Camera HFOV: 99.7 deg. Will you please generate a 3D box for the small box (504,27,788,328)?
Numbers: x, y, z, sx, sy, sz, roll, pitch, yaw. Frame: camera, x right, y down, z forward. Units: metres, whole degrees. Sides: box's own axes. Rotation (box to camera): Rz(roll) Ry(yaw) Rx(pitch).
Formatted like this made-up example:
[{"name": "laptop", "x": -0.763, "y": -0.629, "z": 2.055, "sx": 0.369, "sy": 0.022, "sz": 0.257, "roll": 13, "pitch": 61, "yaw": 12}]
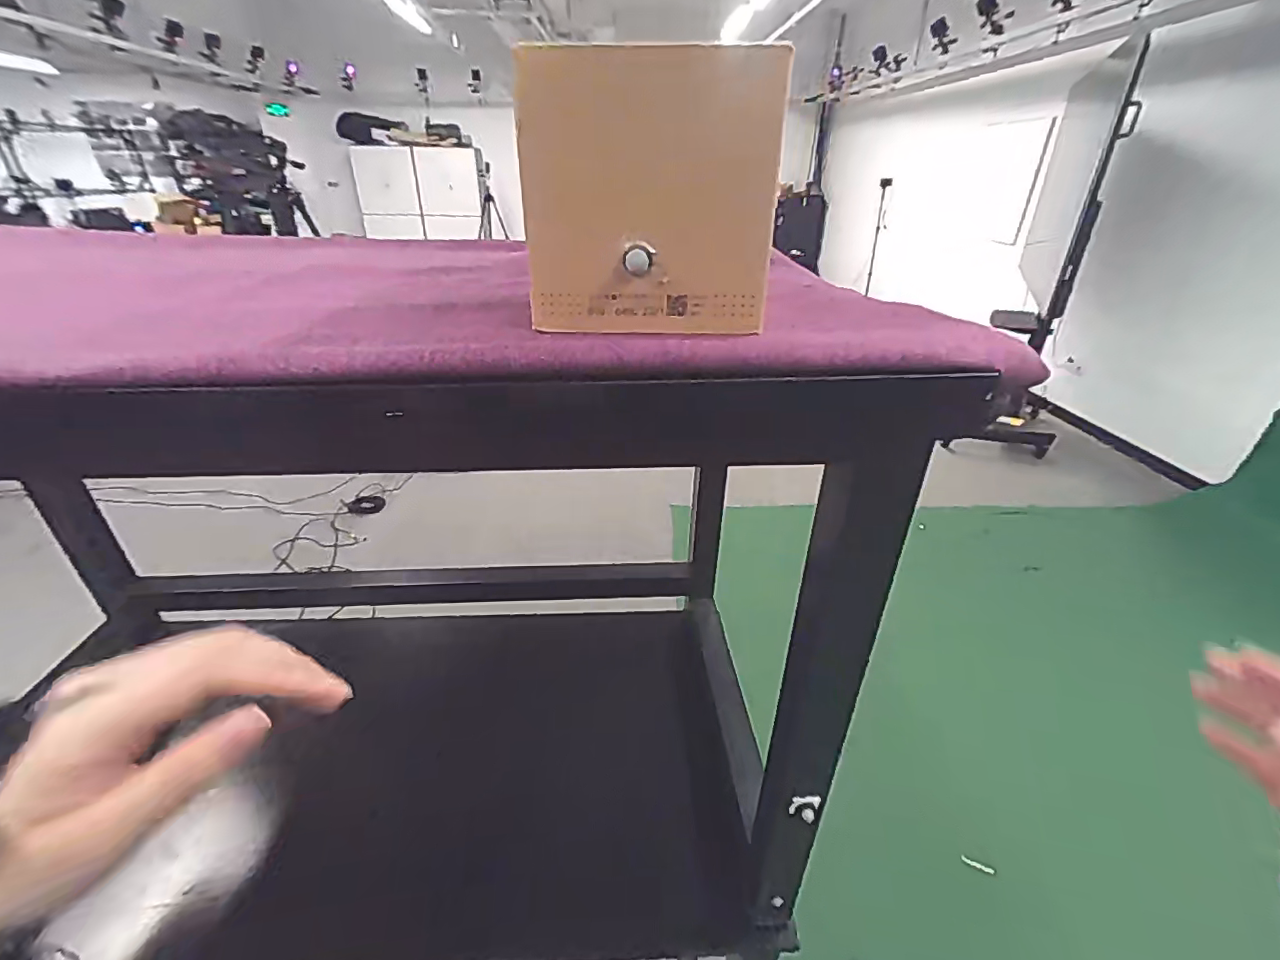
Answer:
[{"name": "small box", "x": 0.006, "y": -0.224, "z": 0.417, "sx": 0.168, "sy": 0.176, "sz": 0.179, "roll": 1, "pitch": 31, "yaw": 3}]
